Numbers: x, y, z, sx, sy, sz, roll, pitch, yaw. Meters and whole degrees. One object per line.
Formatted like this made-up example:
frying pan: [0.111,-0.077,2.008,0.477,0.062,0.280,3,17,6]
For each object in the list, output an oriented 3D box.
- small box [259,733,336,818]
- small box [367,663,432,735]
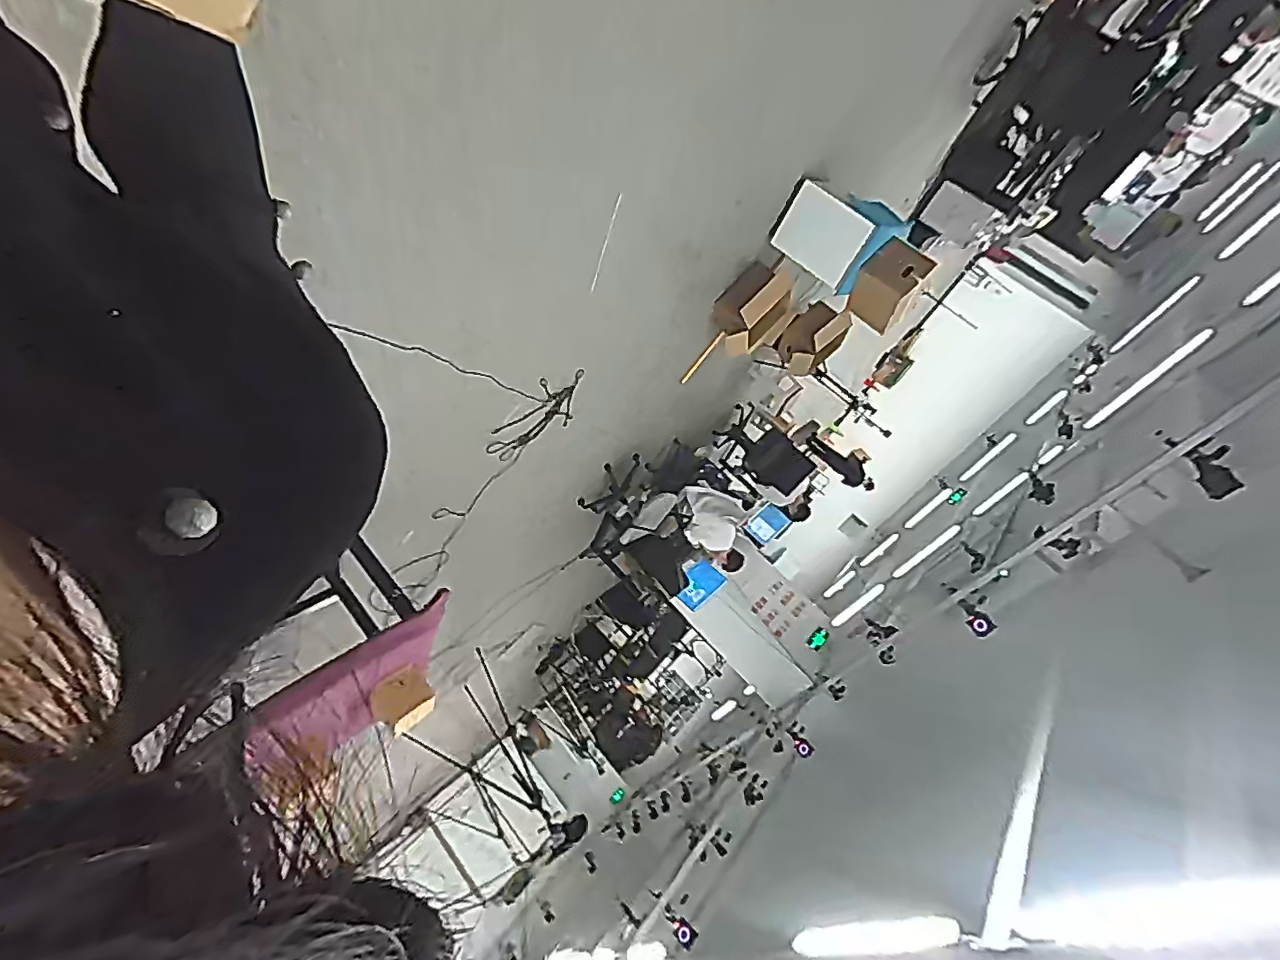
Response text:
small box: [-1.193,1.016,1.875,0.168,0.176,0.179,-22,152,-52]
small box: [-0.930,0.839,2.084,0.168,0.176,0.179,-29,156,-43]
